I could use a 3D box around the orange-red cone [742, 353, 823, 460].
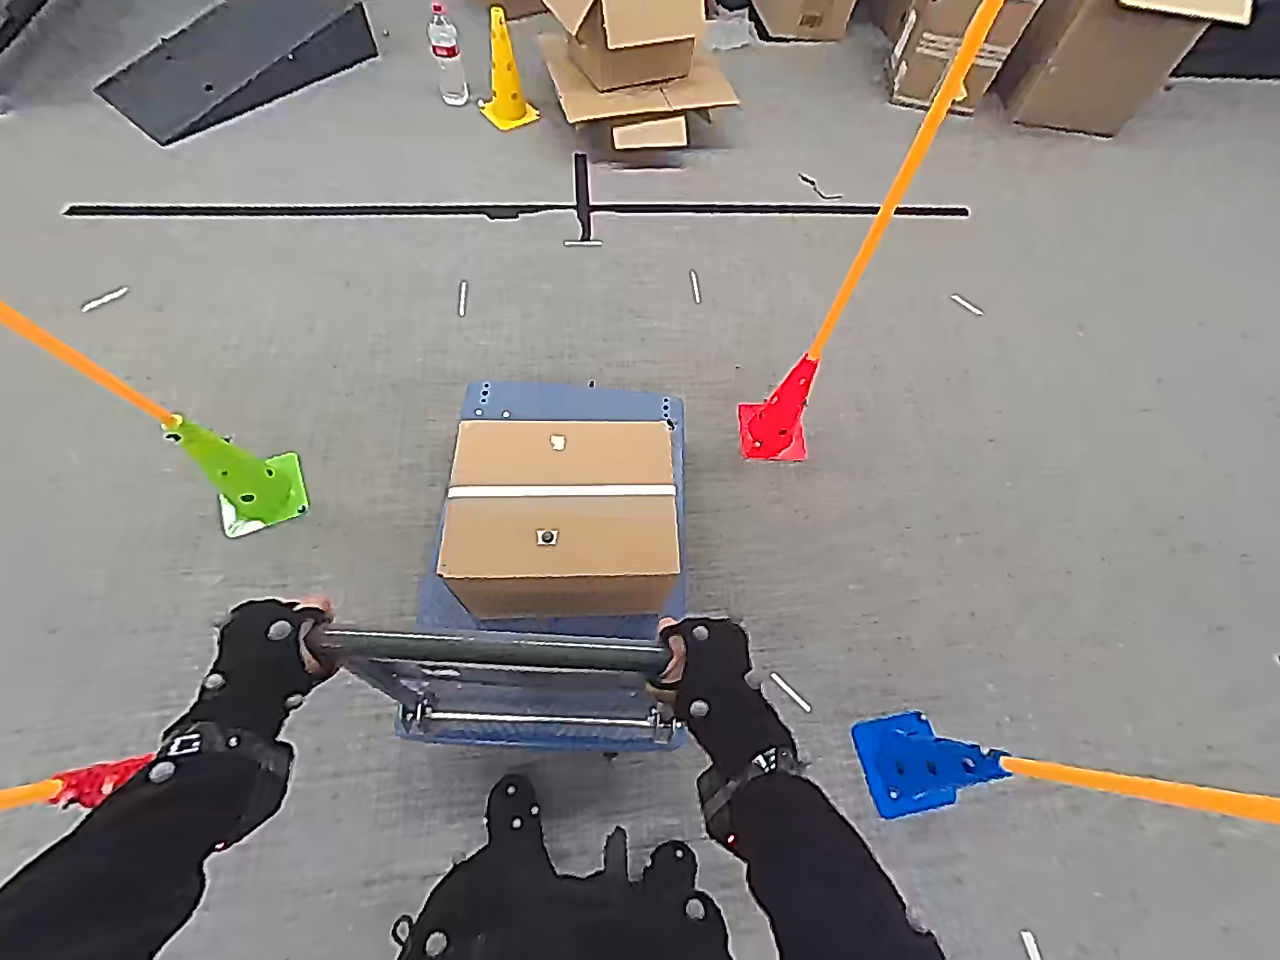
[{"bbox_3d":[0.427,-0.227,1.504,0.199,0.360,0.198,3,63,-4],"label":"orange-red cone"}]

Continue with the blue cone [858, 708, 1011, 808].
[{"bbox_3d":[0.639,0.576,1.129,0.193,0.380,0.192,-6,63,-9],"label":"blue cone"}]
